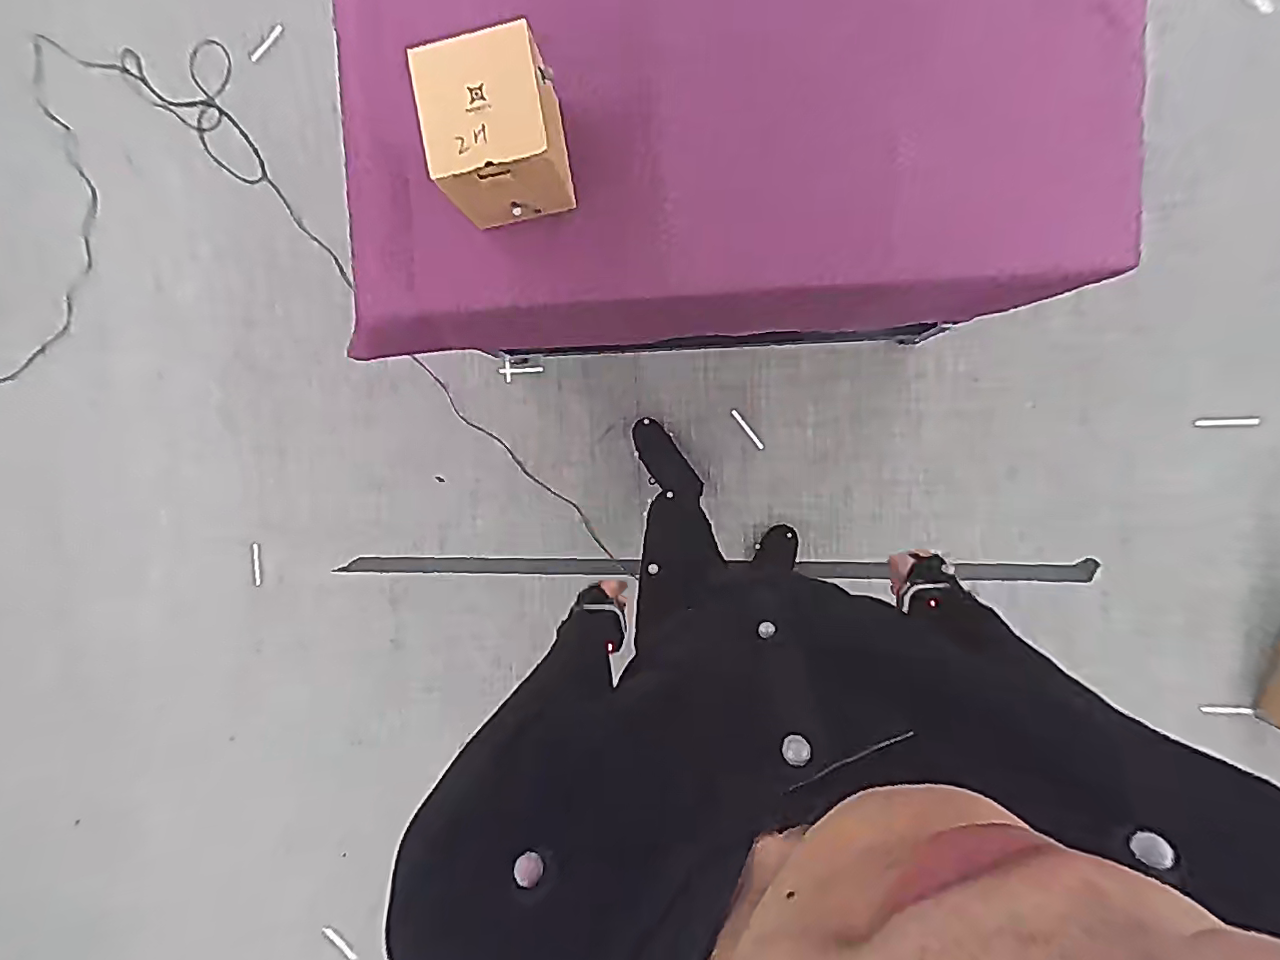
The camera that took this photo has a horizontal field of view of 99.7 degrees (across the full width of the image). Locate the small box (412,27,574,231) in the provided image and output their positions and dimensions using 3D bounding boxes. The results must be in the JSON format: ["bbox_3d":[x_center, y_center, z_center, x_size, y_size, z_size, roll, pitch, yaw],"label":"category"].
[{"bbox_3d":[-0.205,-0.498,0.795,0.168,0.176,0.179,-9,93,7],"label":"small box"}]
